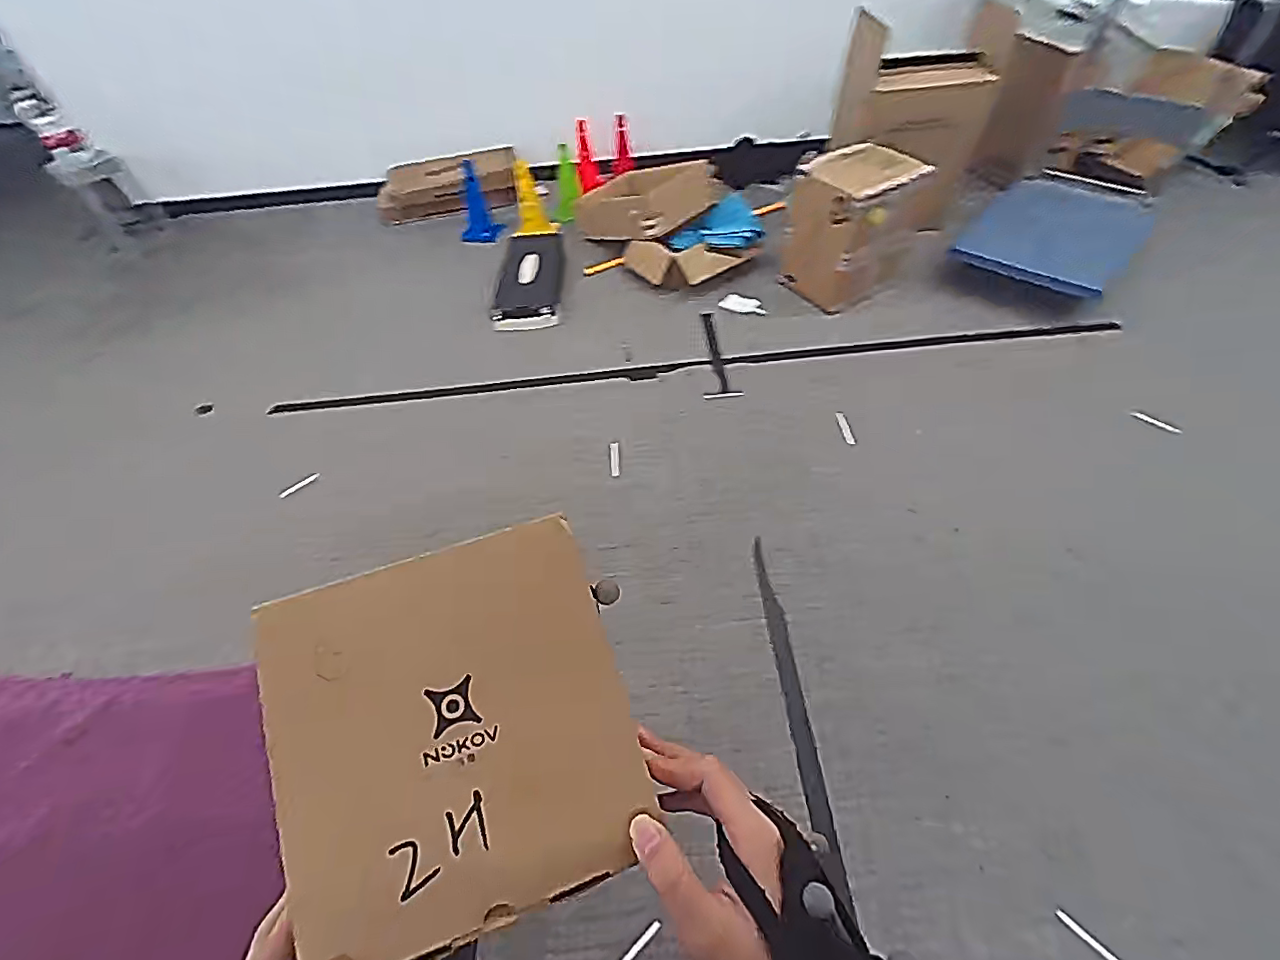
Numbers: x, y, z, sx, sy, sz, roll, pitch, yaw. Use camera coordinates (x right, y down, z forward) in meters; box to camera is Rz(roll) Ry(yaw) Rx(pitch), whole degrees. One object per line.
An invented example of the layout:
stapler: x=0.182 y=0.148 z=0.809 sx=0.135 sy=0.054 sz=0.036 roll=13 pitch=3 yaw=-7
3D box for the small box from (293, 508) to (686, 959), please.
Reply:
small box: x=-0.086 y=0.140 z=0.345 sx=0.168 sy=0.176 sz=0.179 roll=-16 pitch=72 yaw=-10
